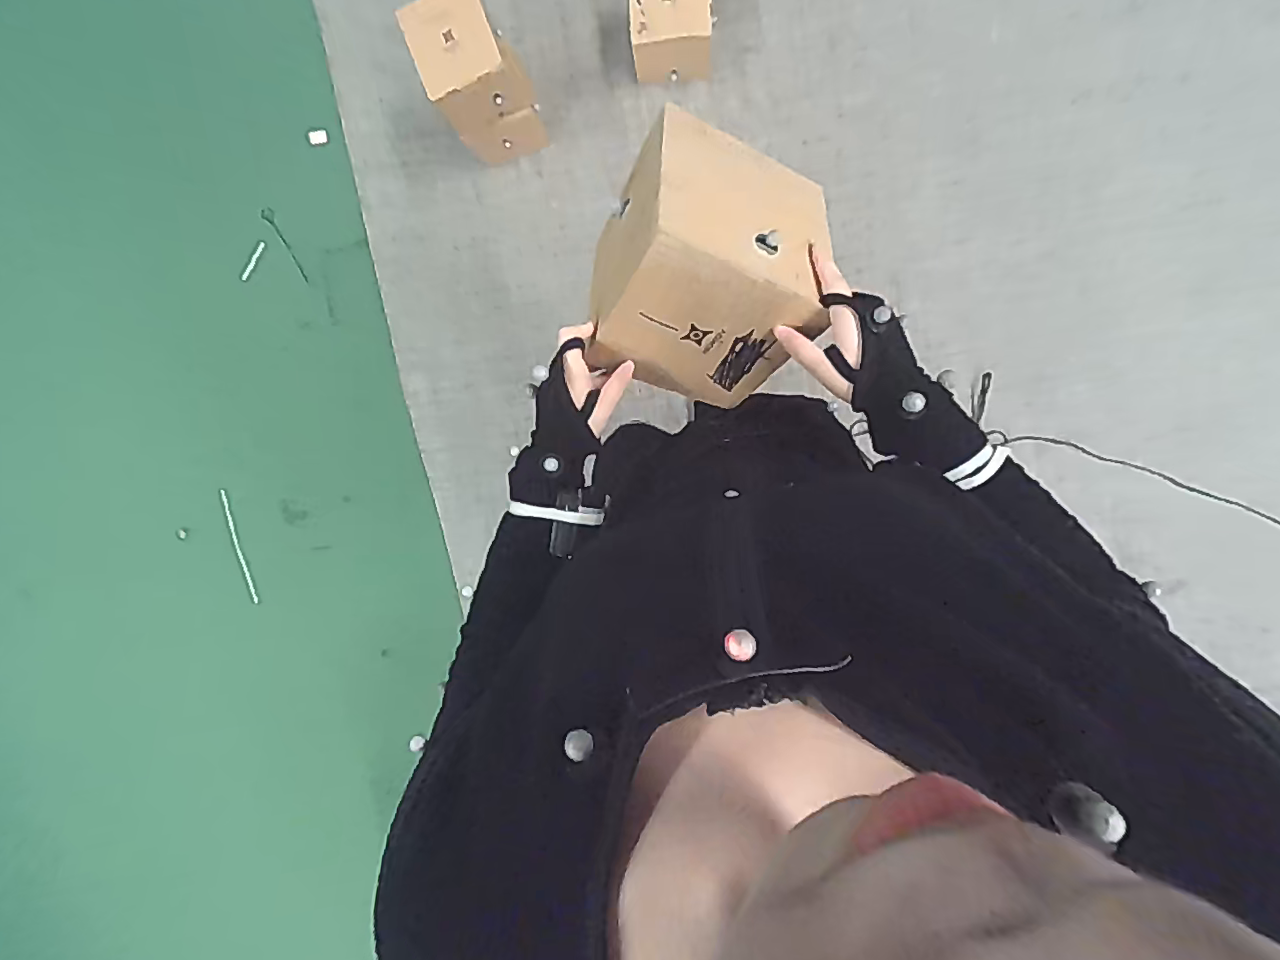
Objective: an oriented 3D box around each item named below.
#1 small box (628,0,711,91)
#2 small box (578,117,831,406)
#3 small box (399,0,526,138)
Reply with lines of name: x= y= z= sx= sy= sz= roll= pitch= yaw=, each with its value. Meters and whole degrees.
small box: x=0.068 y=-1.024 z=1.232 sx=0.179 sy=0.176 sz=0.168 roll=-2 pitch=99 yaw=6
small box: x=0.057 y=-0.203 z=0.526 sx=0.179 sy=0.168 sz=0.176 roll=15 pitch=60 yaw=-21
small box: x=-0.361 y=-0.859 z=1.136 sx=0.168 sy=0.176 sz=0.179 roll=-19 pitch=96 yaw=8
